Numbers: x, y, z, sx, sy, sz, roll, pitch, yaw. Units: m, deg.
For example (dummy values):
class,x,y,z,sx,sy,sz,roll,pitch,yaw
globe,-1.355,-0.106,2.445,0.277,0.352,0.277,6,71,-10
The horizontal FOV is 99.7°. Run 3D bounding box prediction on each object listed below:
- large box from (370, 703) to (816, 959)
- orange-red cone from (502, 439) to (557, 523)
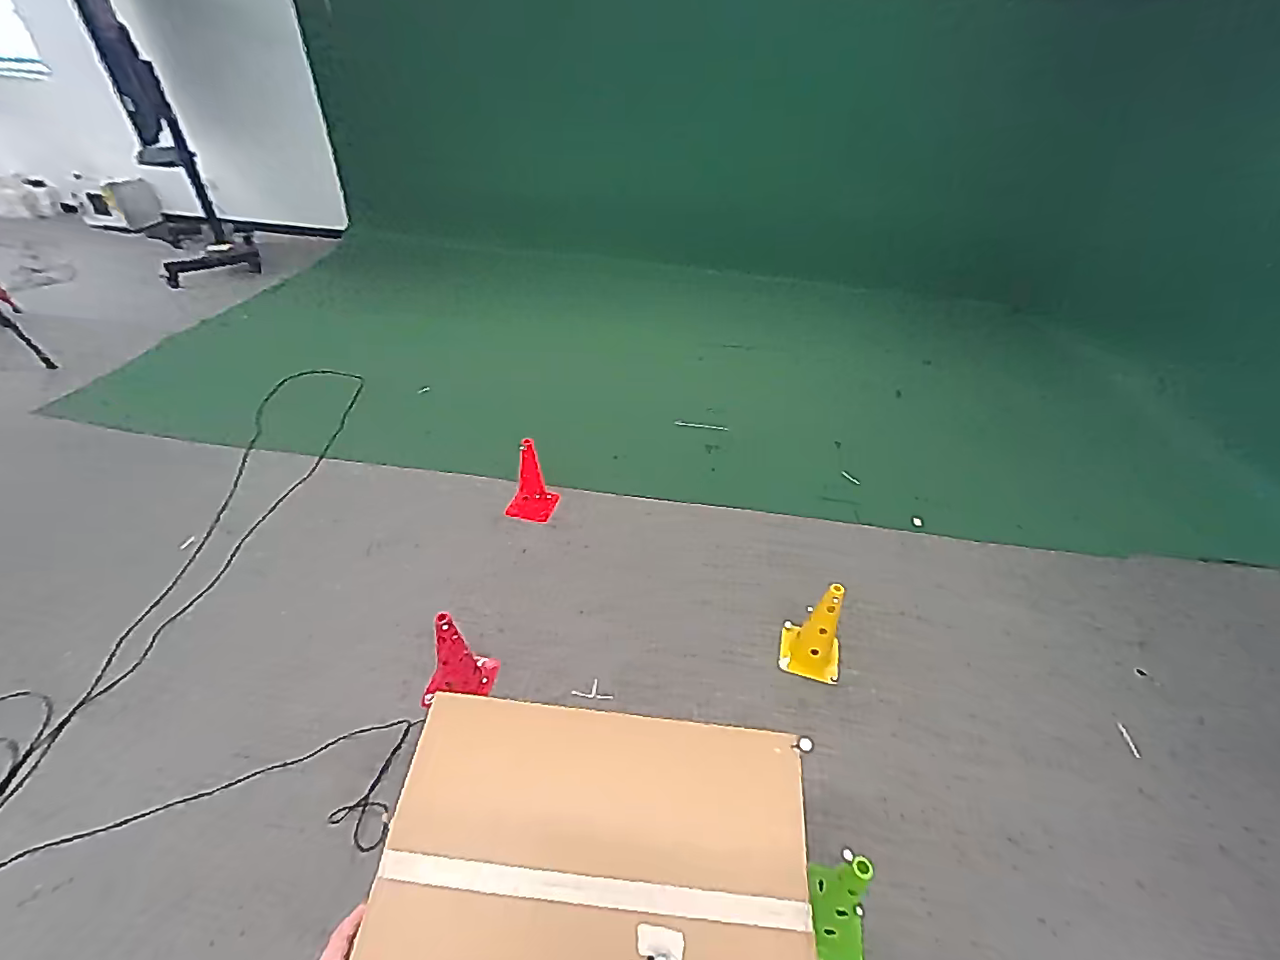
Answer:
class,x,y,z,sx,sy,sz,roll,pitch,yaw
large box,-0.043,0.478,0.628,0.408,0.320,0.320,6,53,2
orange-red cone,-0.487,-0.019,2.317,0.199,0.360,0.198,11,39,10
